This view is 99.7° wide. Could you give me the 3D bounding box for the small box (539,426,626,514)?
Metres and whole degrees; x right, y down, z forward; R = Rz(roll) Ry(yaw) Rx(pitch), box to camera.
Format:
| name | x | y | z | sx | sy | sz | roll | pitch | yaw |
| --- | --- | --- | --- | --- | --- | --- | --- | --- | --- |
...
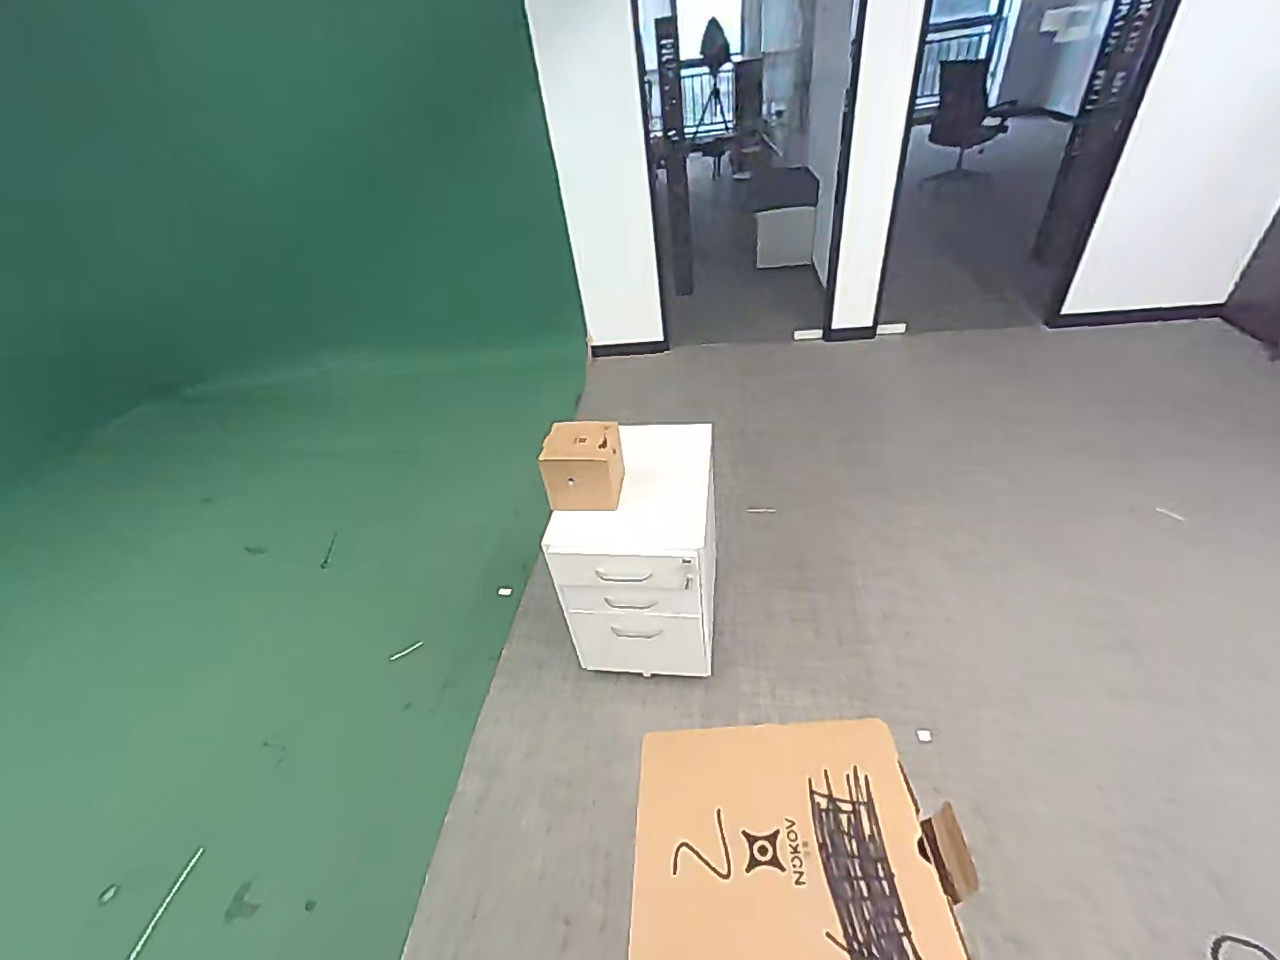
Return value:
| name | x | y | z | sx | sy | sz | roll | pitch | yaw |
| --- | --- | --- | --- | --- | --- | --- | --- | --- | --- |
| small box | -0.142 | -0.024 | 1.405 | 0.179 | 0.176 | 0.168 | 0 | 39 | 9 |
